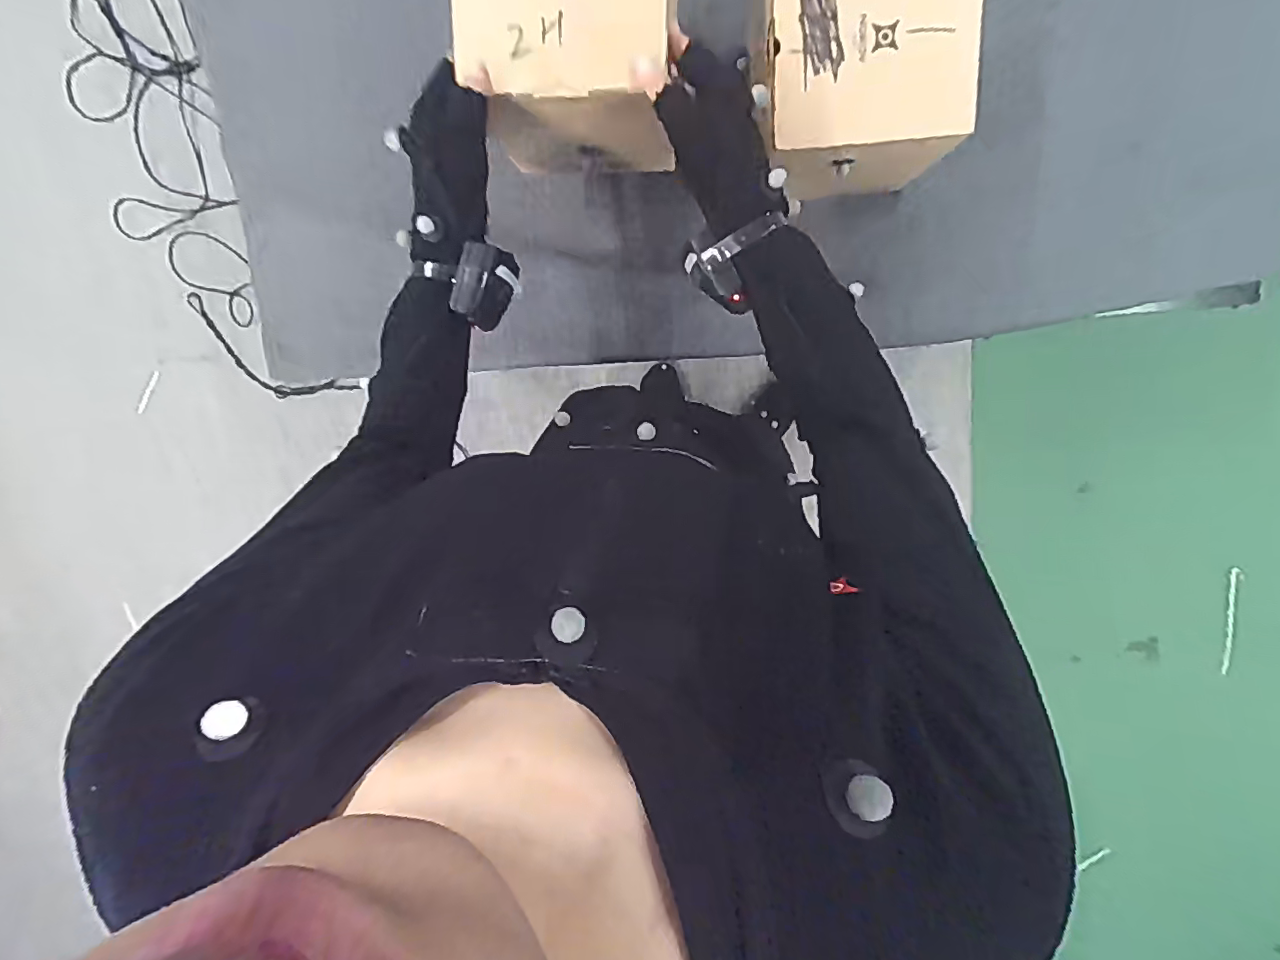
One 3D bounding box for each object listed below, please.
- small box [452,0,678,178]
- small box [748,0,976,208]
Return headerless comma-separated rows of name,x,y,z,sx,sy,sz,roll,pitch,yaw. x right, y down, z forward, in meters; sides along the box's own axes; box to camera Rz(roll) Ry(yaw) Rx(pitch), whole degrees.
small box,-0.053,-0.392,0.477,0.168,0.176,0.179,2,101,5
small box,0.203,-0.387,0.543,0.179,0.176,0.168,-3,102,4
